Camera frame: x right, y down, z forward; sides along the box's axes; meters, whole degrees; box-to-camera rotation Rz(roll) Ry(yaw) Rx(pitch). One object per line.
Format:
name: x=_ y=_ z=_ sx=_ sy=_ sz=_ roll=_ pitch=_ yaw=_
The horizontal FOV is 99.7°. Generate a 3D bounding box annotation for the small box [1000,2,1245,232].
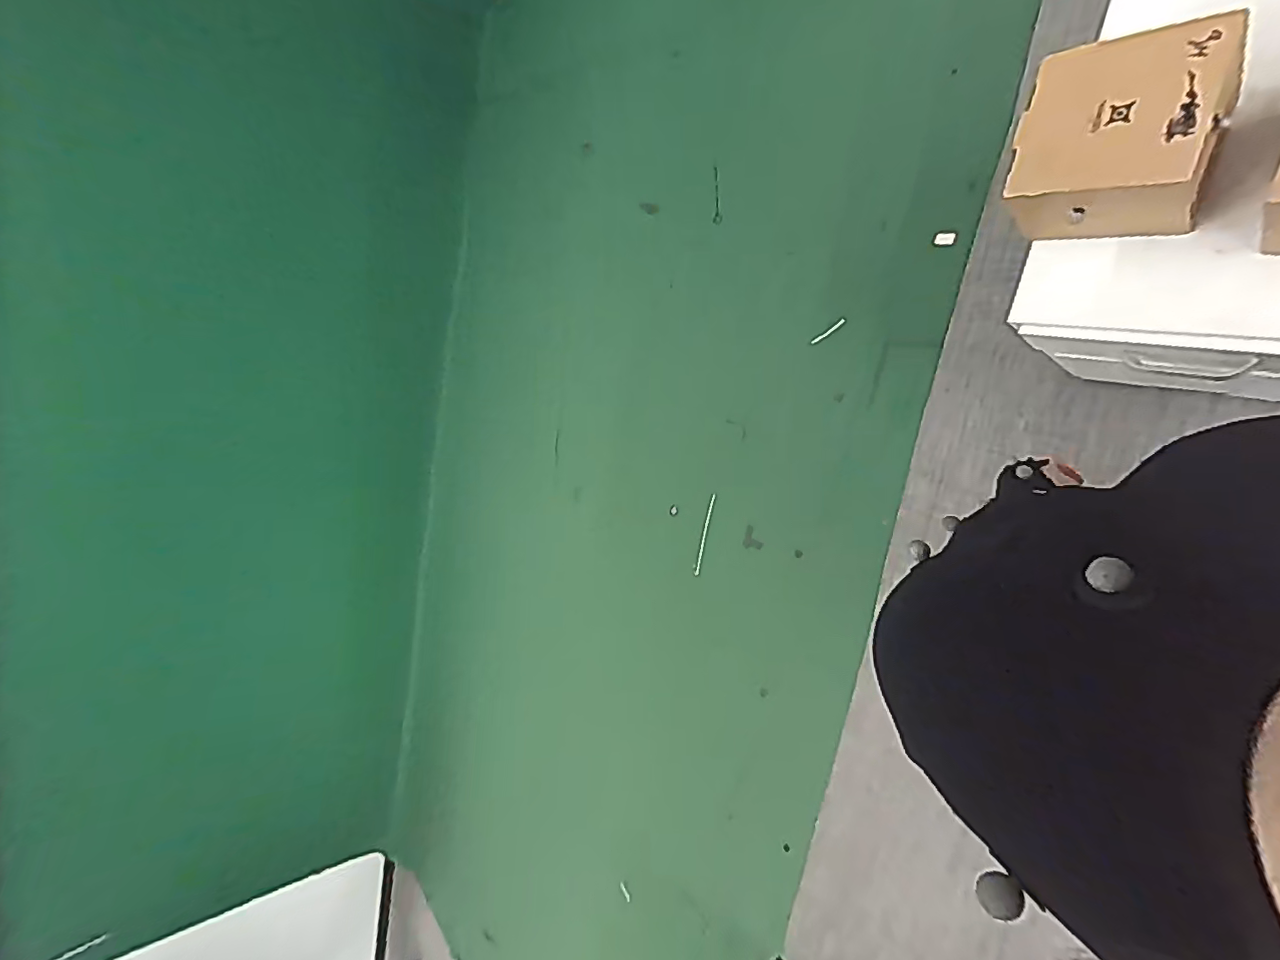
small box: x=0.585 y=-0.418 z=0.665 sx=0.179 sy=0.176 sz=0.168 roll=21 pitch=104 yaw=44
